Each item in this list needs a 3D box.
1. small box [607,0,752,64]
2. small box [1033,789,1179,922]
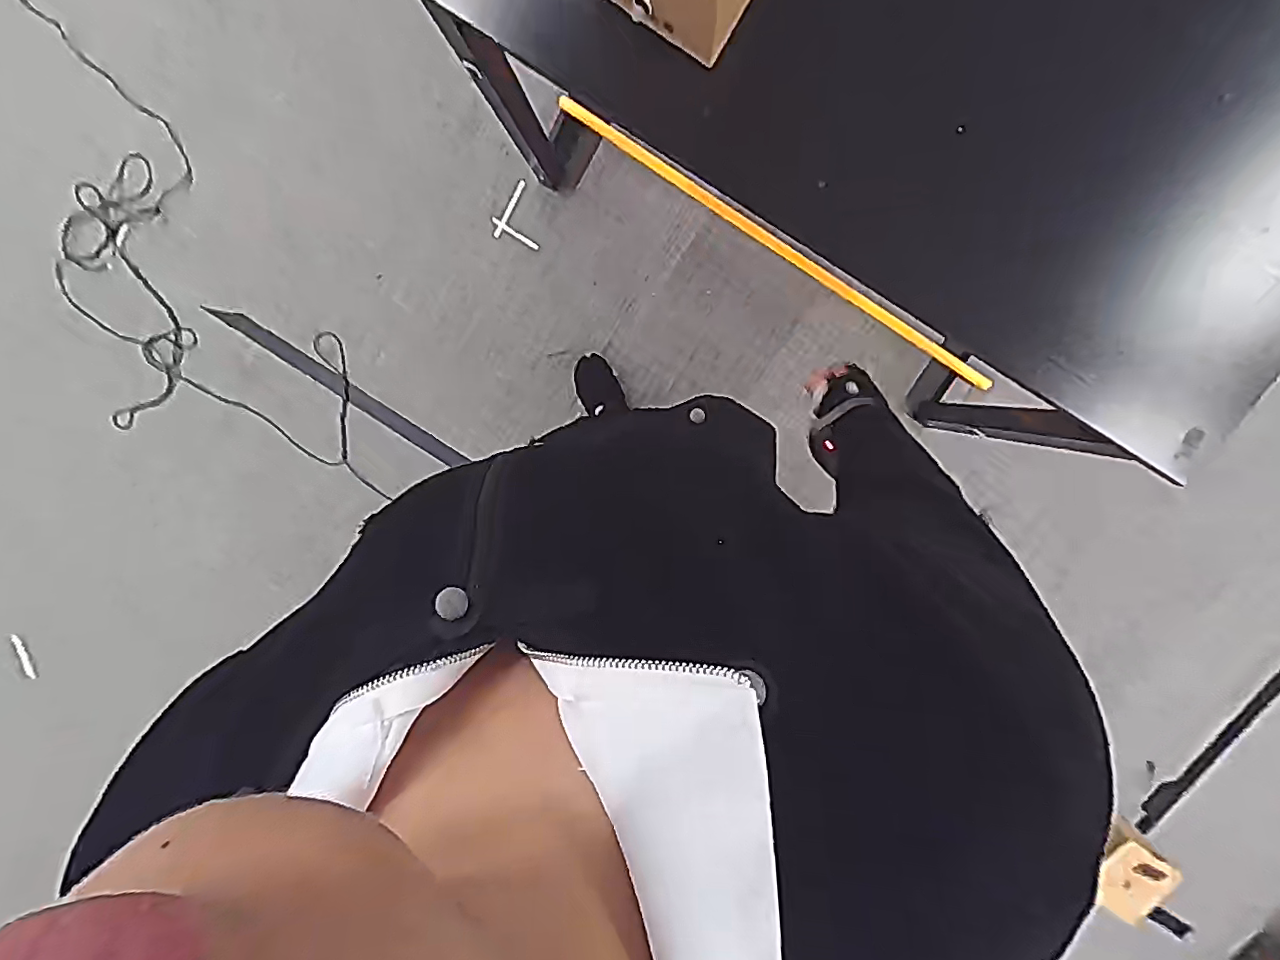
[{"bbox_3d":[0.057,-0.590,0.548,0.168,0.176,0.179,32,101,-2],"label":"small box"},{"bbox_3d":[1.125,0.908,1.324,0.168,0.176,0.179,34,101,-3],"label":"small box"}]
